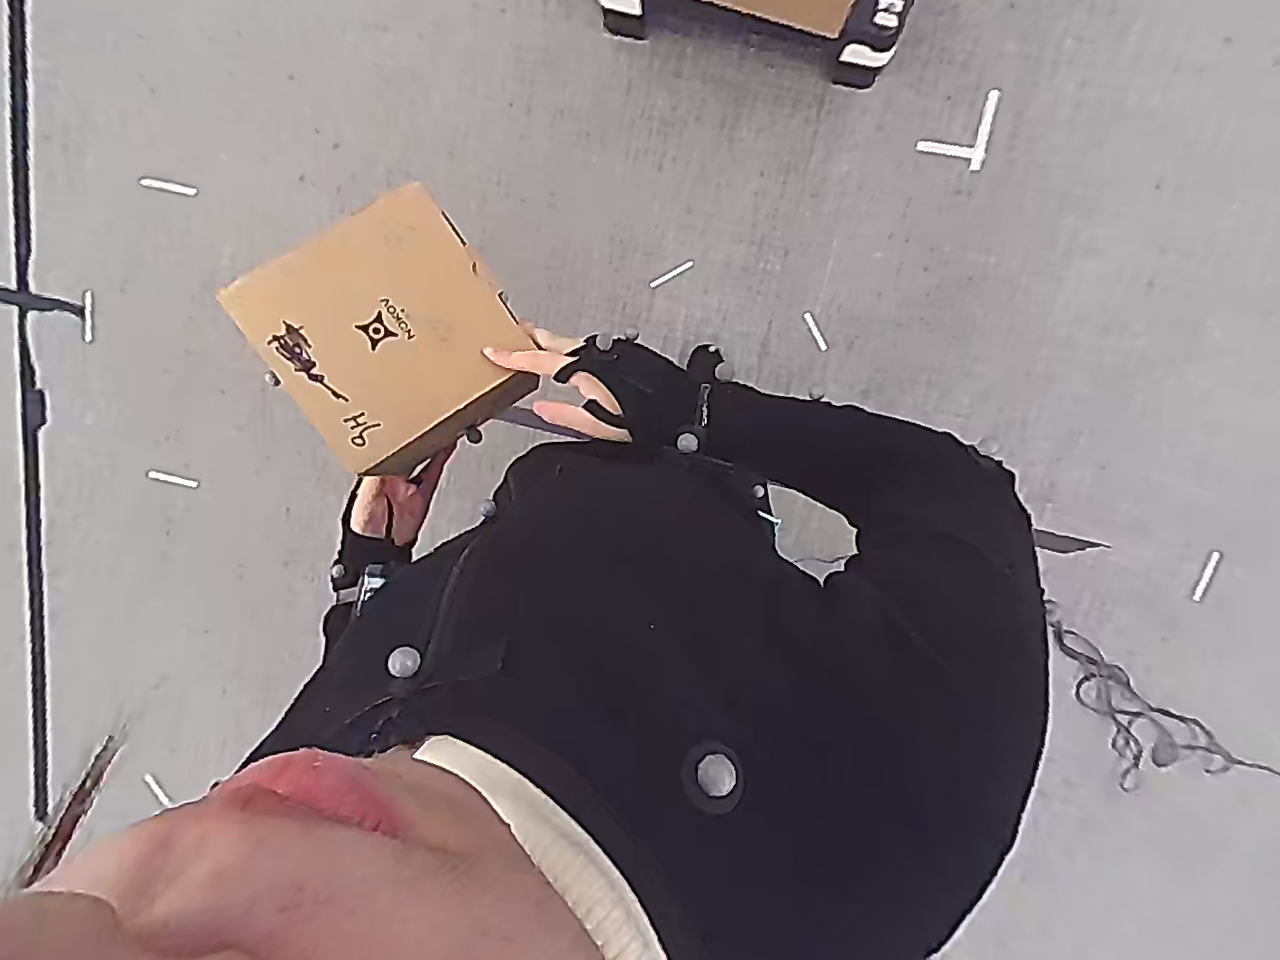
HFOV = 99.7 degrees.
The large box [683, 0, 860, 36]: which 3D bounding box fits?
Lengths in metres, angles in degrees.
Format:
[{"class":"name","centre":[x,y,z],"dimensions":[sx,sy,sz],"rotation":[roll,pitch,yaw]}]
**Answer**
[{"class":"large box","centre":[0.244,-1.058,0.926],"dimensions":[0.408,0.320,0.320],"rotation":[17,101,2]}]

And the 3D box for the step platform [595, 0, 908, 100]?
[{"class":"step platform","centre":[0.236,-1.105,1.161],"dimensions":[0.684,0.204,0.286],"rotation":[19,101,2]}]

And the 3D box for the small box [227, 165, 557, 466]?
[{"class":"small box","centre":[-0.195,-0.126,0.480],"dimensions":[0.179,0.176,0.168],"rotation":[-34,96,-10]}]
